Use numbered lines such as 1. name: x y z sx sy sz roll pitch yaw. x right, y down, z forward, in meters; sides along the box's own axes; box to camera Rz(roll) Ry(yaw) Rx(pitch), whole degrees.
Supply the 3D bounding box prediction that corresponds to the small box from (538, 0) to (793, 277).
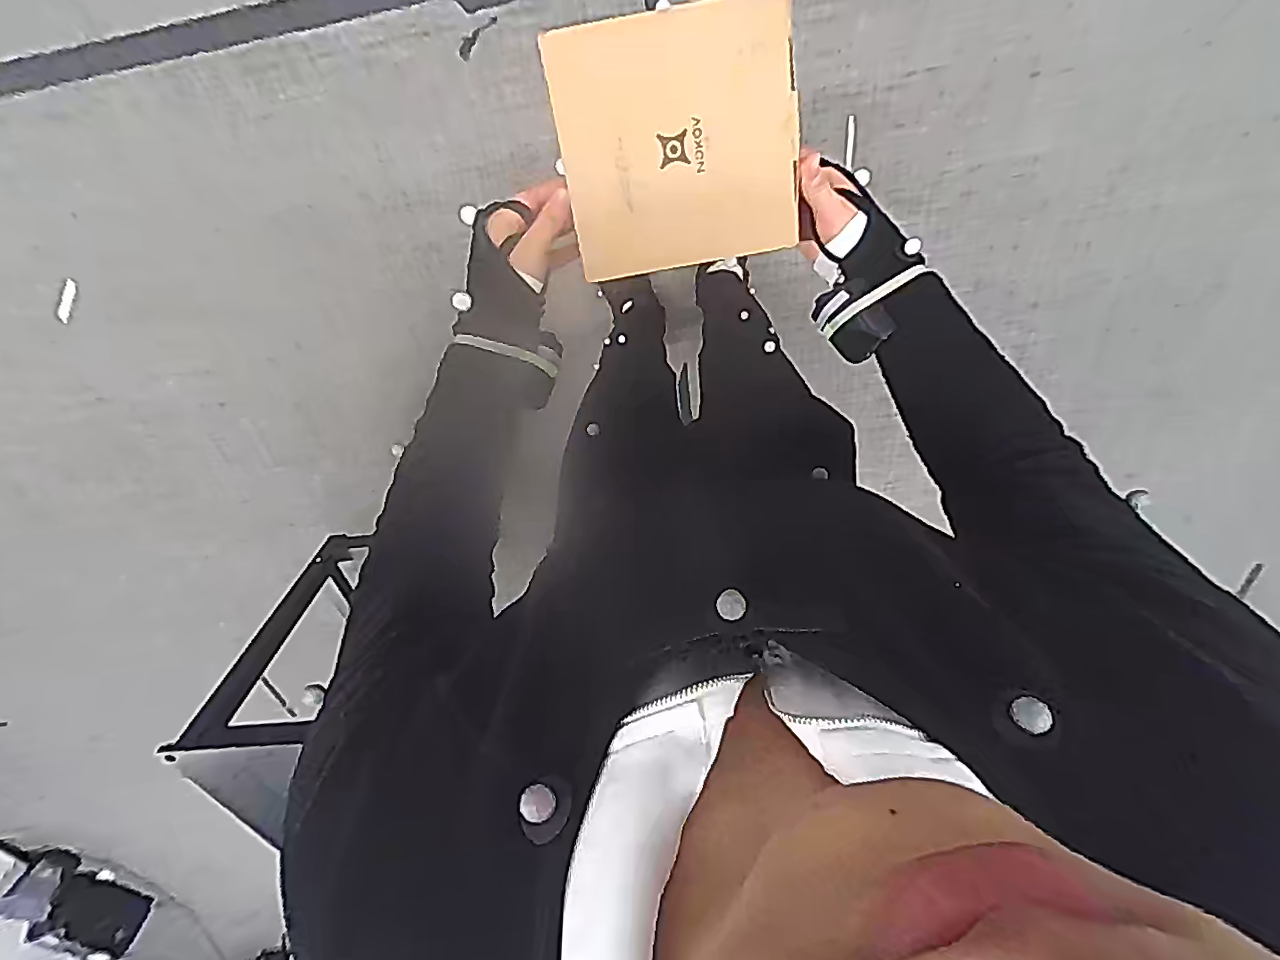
1. small box: 0.024 -0.284 0.477 0.179 0.176 0.168 -8 114 5
